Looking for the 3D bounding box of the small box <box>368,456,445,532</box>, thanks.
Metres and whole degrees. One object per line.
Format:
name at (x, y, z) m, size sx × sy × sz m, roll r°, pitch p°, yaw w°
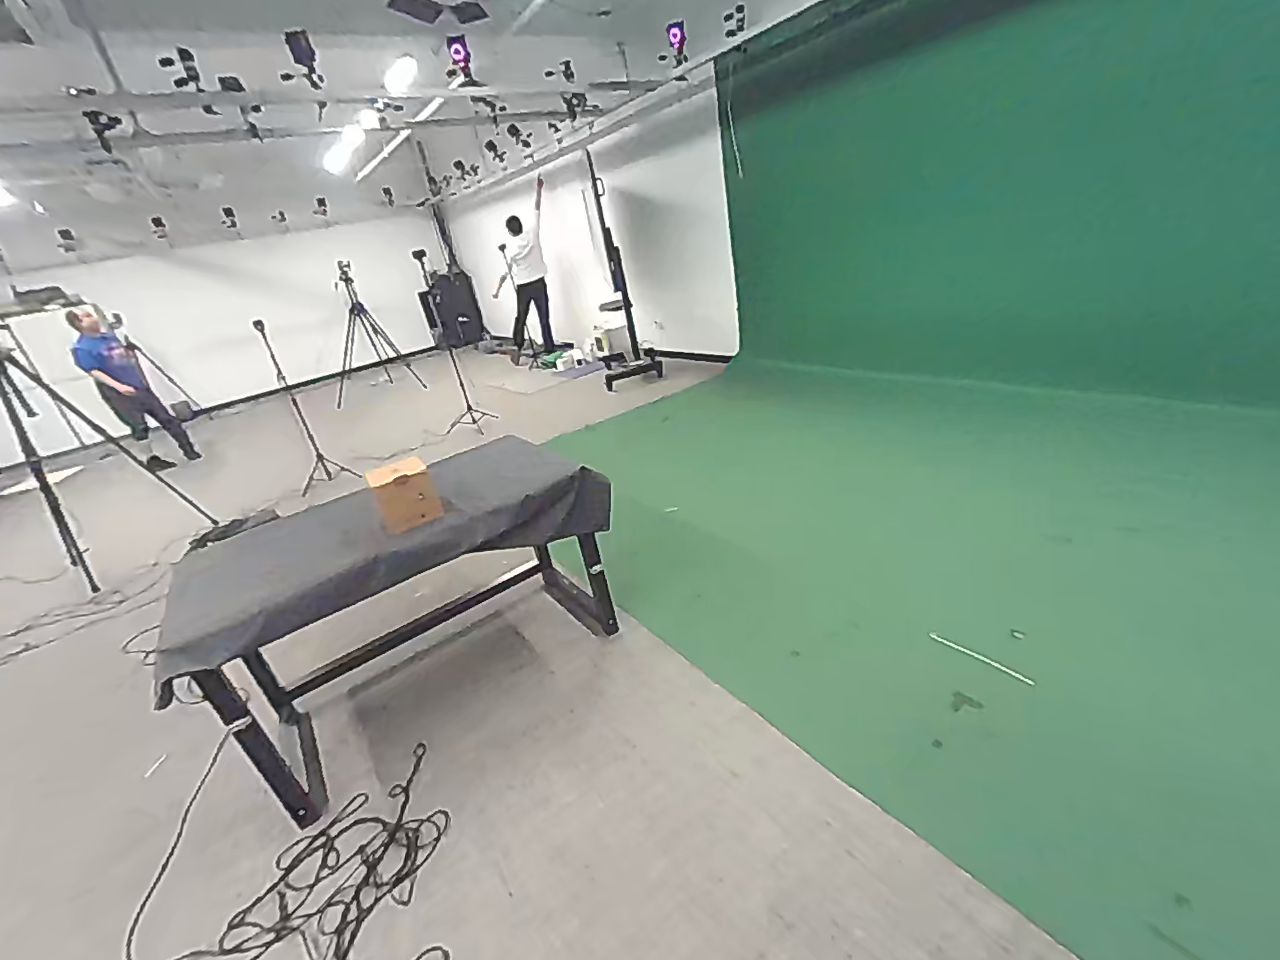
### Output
small box at (-0.732, 0.046, 1.702) m, size 0.168 × 0.176 × 0.179 m, roll -23°, pitch 25°, yaw -26°
